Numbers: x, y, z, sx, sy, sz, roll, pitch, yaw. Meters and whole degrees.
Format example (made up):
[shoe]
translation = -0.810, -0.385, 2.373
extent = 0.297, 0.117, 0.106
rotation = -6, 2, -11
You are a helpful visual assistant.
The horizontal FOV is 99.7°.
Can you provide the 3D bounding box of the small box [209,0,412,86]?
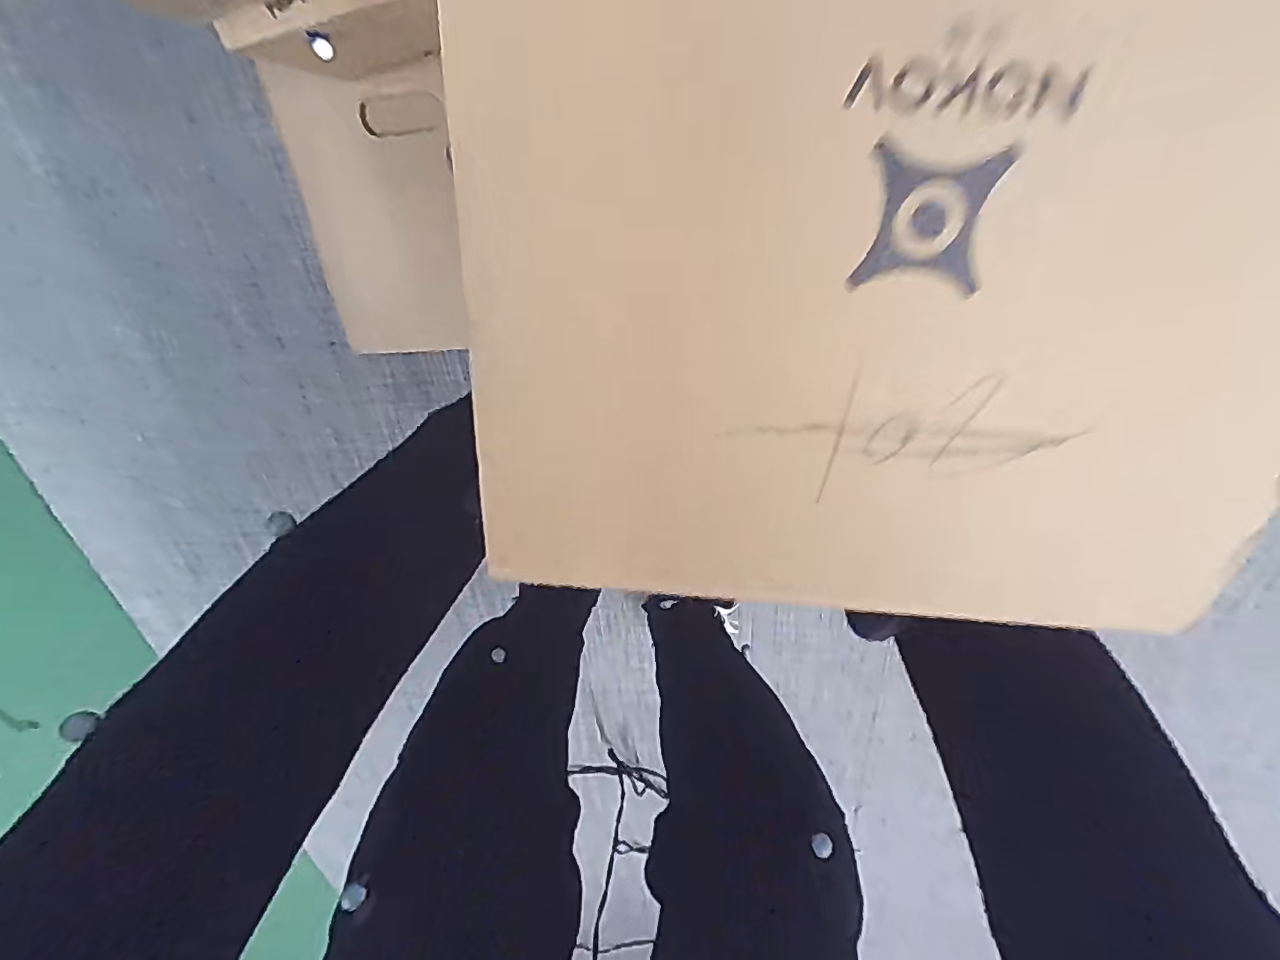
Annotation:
[small box]
translation = -0.245, -0.448, 0.428
extent = 0.168, 0.176, 0.179
rotation = -9, 118, 9
